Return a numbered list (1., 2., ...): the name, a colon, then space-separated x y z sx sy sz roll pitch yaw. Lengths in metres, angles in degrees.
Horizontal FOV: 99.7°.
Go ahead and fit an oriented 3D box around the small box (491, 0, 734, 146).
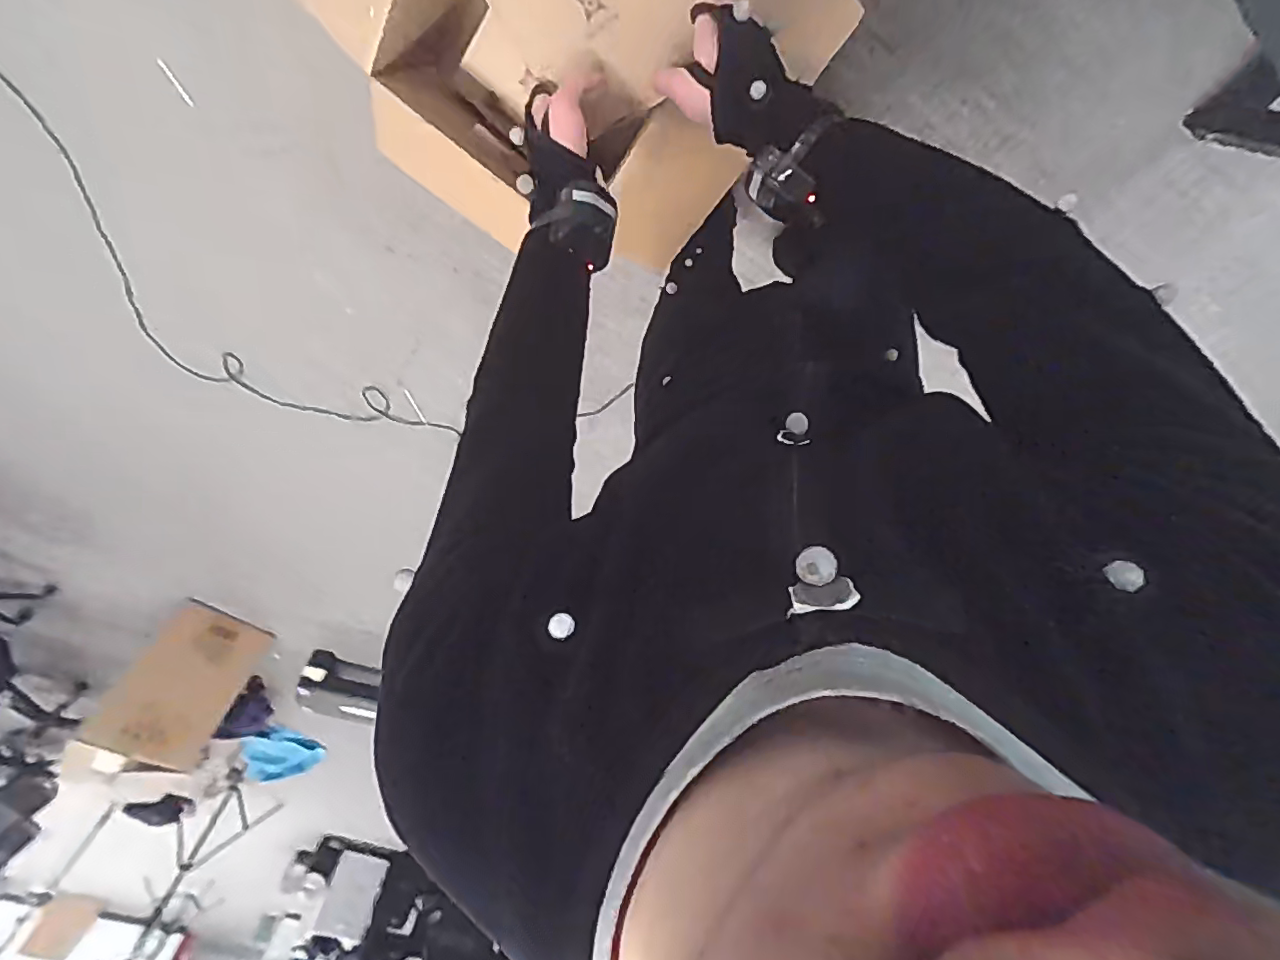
1. small box: -0.021 -0.469 0.505 0.168 0.176 0.179 -11 140 31
